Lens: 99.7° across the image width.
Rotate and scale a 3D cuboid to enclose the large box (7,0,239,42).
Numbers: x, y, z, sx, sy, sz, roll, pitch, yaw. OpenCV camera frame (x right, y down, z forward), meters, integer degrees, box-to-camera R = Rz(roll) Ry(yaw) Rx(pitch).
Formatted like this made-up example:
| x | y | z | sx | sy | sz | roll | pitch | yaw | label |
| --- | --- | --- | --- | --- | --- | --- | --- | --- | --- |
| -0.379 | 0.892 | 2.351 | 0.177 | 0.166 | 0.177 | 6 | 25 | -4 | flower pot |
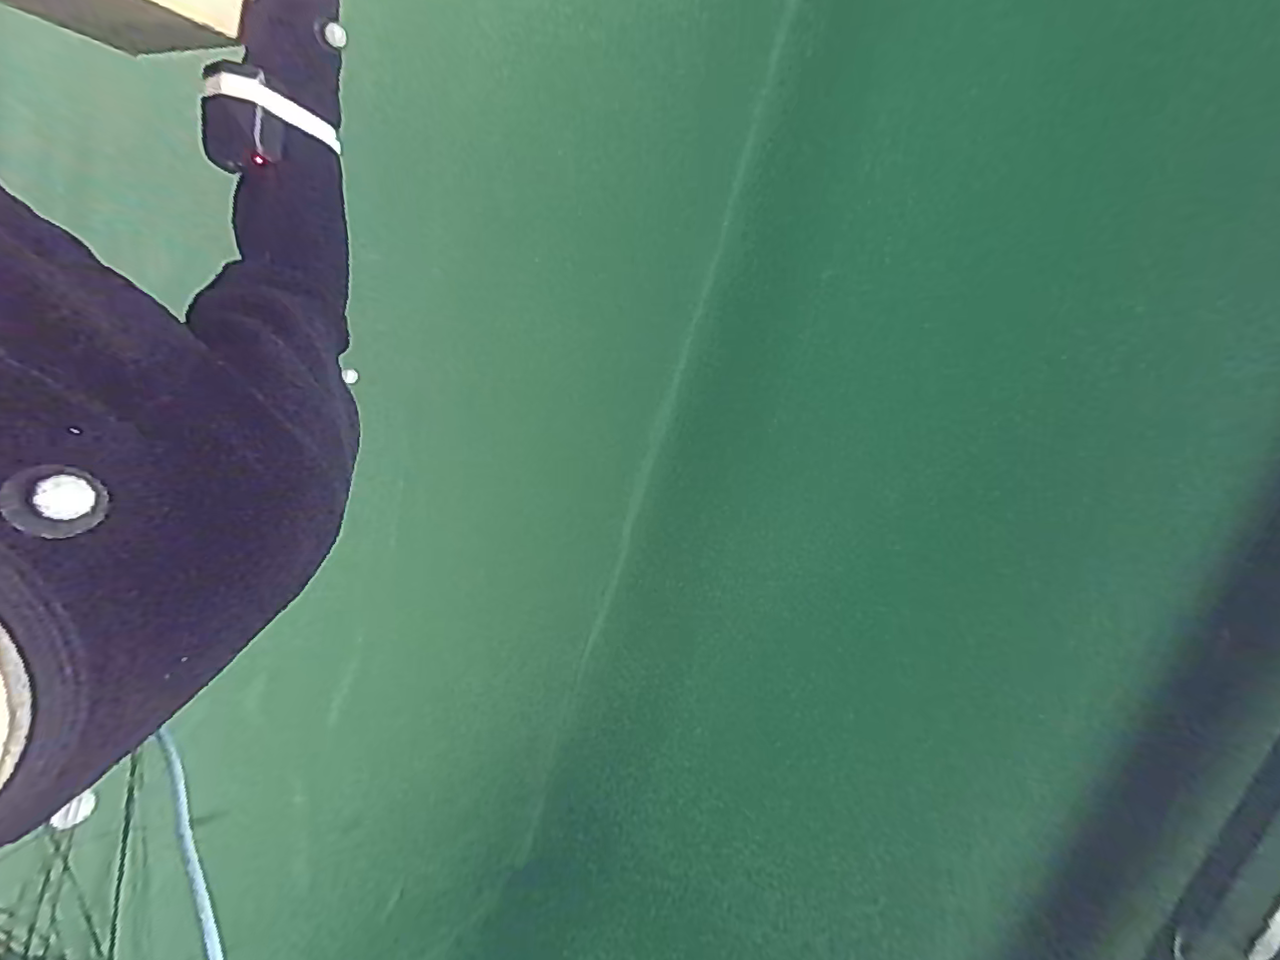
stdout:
| x | y | z | sx | sy | sz | roll | pitch | yaw | label |
| --- | --- | --- | --- | --- | --- | --- | --- | --- | --- |
| -0.504 | -0.511 | 0.289 | 0.408 | 0.320 | 0.320 | -11 | 120 | -52 | large box |
